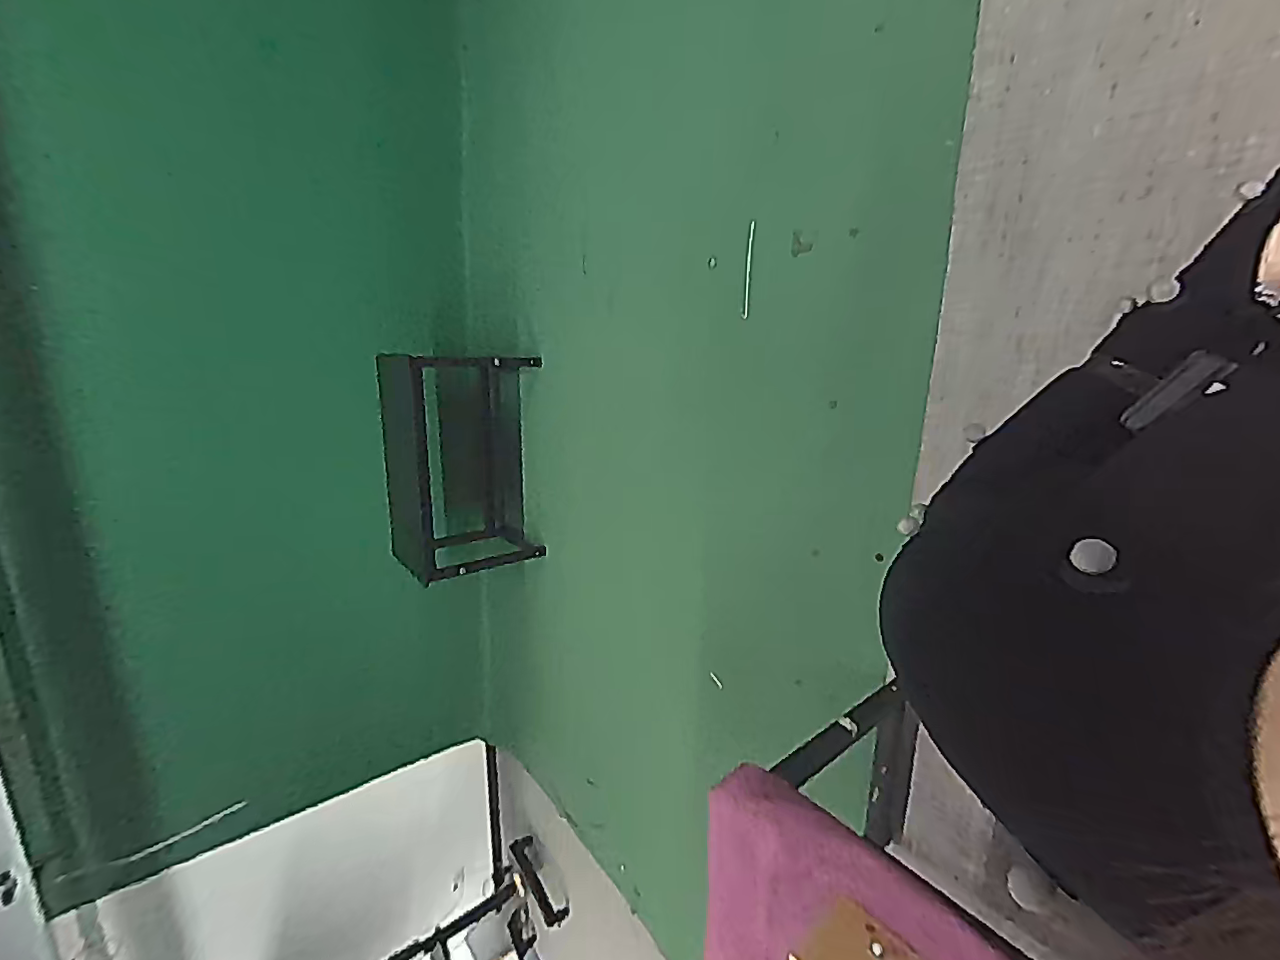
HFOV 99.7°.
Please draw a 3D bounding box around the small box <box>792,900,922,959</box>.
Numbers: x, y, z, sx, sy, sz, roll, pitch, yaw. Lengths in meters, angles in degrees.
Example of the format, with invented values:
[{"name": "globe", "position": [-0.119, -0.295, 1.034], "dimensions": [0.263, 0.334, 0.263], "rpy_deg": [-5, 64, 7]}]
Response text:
[{"name": "small box", "position": [0.361, 0.863, 0.890], "dimensions": [0.168, 0.176, 0.179], "rpy_deg": [17, 110, 49]}]
